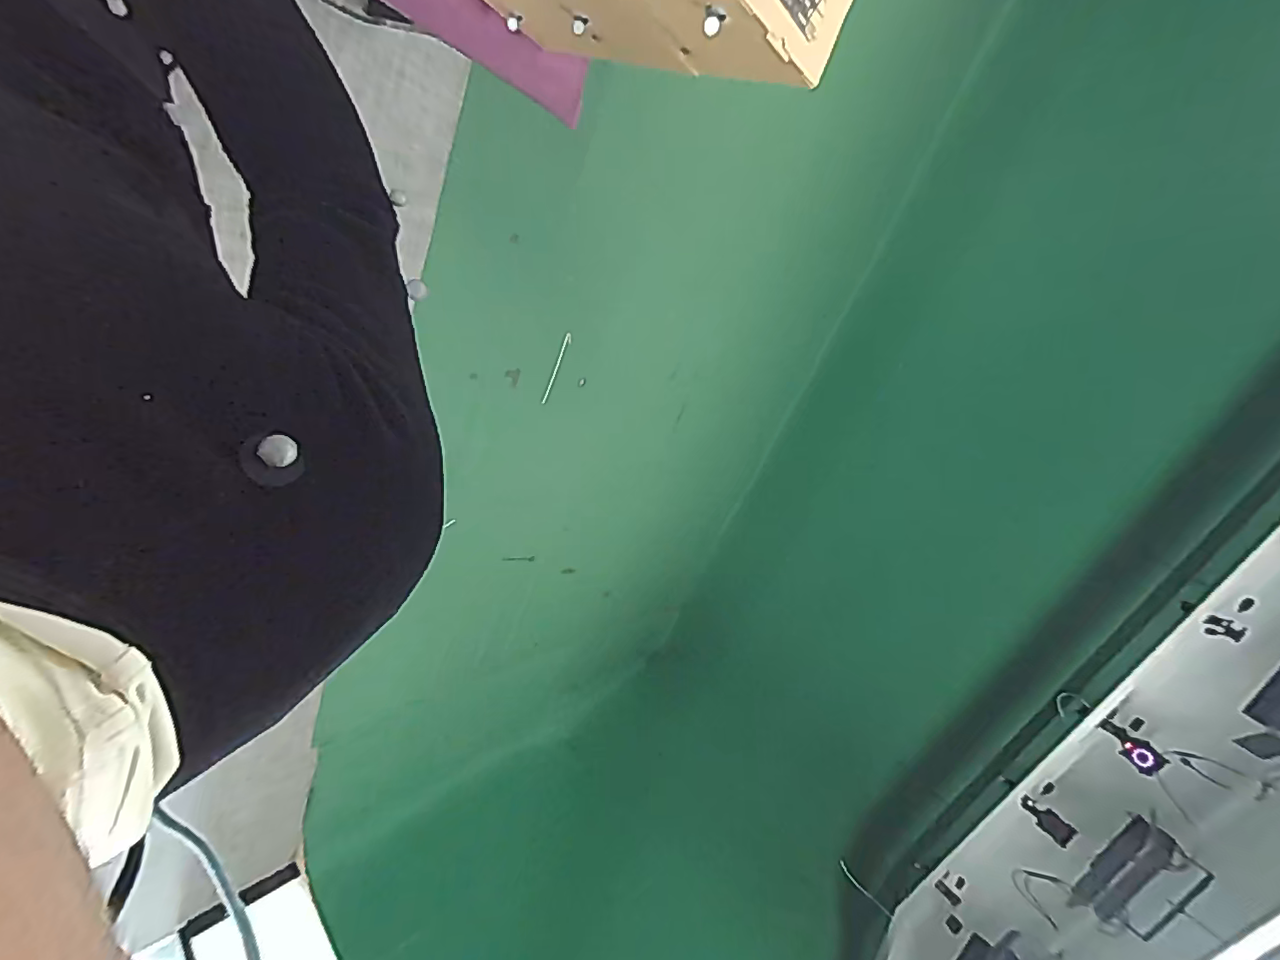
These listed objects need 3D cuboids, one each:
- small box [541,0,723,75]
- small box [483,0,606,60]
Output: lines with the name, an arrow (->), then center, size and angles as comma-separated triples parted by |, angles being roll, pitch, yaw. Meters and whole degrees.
small box -> -0.006, -0.621, 0.627 | 0.168, 0.176, 0.179 | 0, 121, -52
small box -> -0.121, -0.702, 0.709 | 0.179, 0.176, 0.168 | -1, 122, -53
